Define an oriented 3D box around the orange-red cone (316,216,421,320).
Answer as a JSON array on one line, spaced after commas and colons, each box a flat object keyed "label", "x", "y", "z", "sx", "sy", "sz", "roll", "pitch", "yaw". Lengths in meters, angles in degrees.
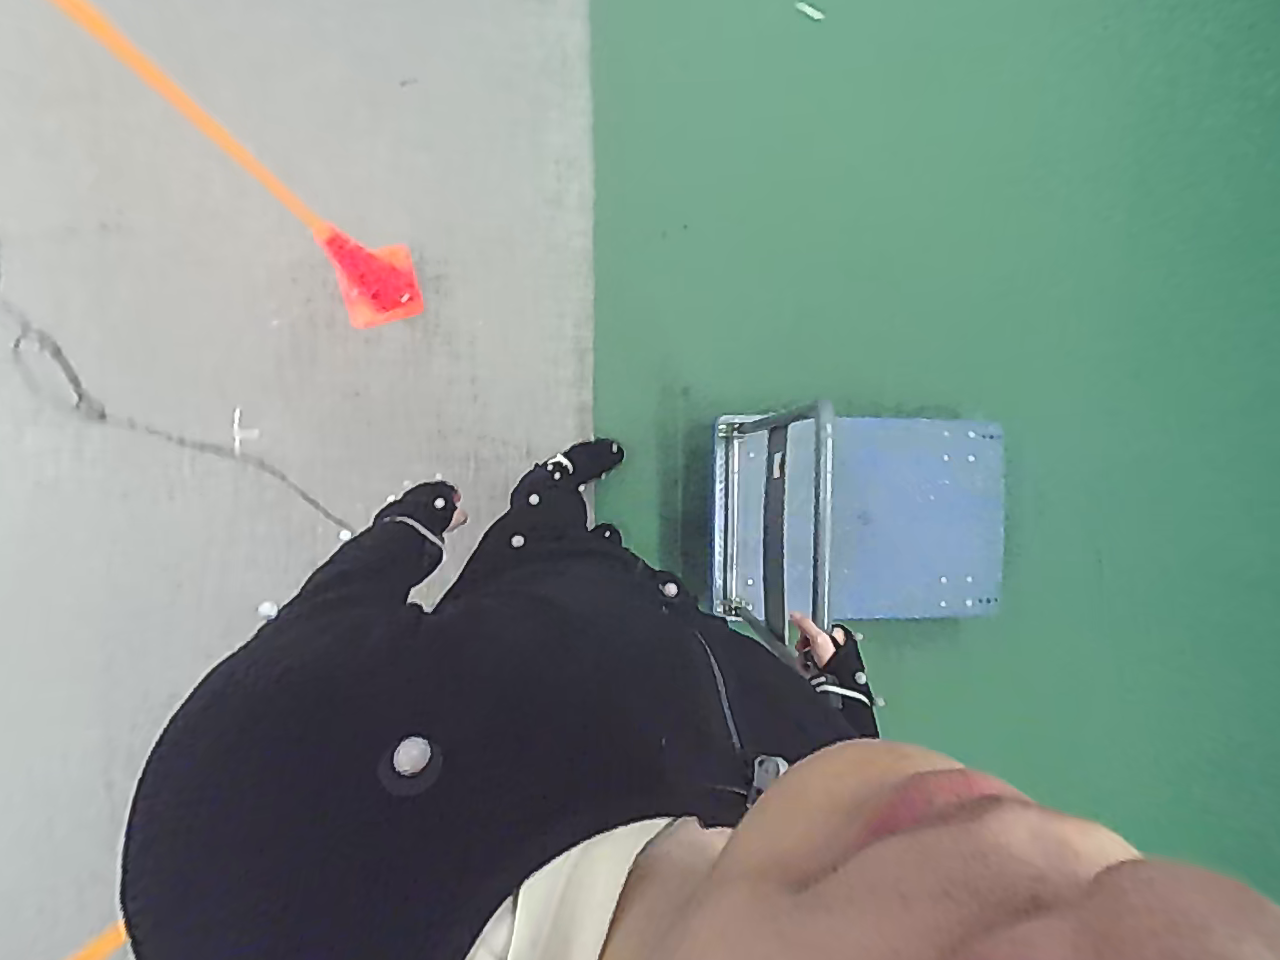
[{"label": "orange-red cone", "x": -0.714, "y": -0.562, "z": 1.358, "sx": 0.198, "sy": 0.360, "sz": 0.199, "roll": -15, "pitch": 91, "yaw": -7}]
